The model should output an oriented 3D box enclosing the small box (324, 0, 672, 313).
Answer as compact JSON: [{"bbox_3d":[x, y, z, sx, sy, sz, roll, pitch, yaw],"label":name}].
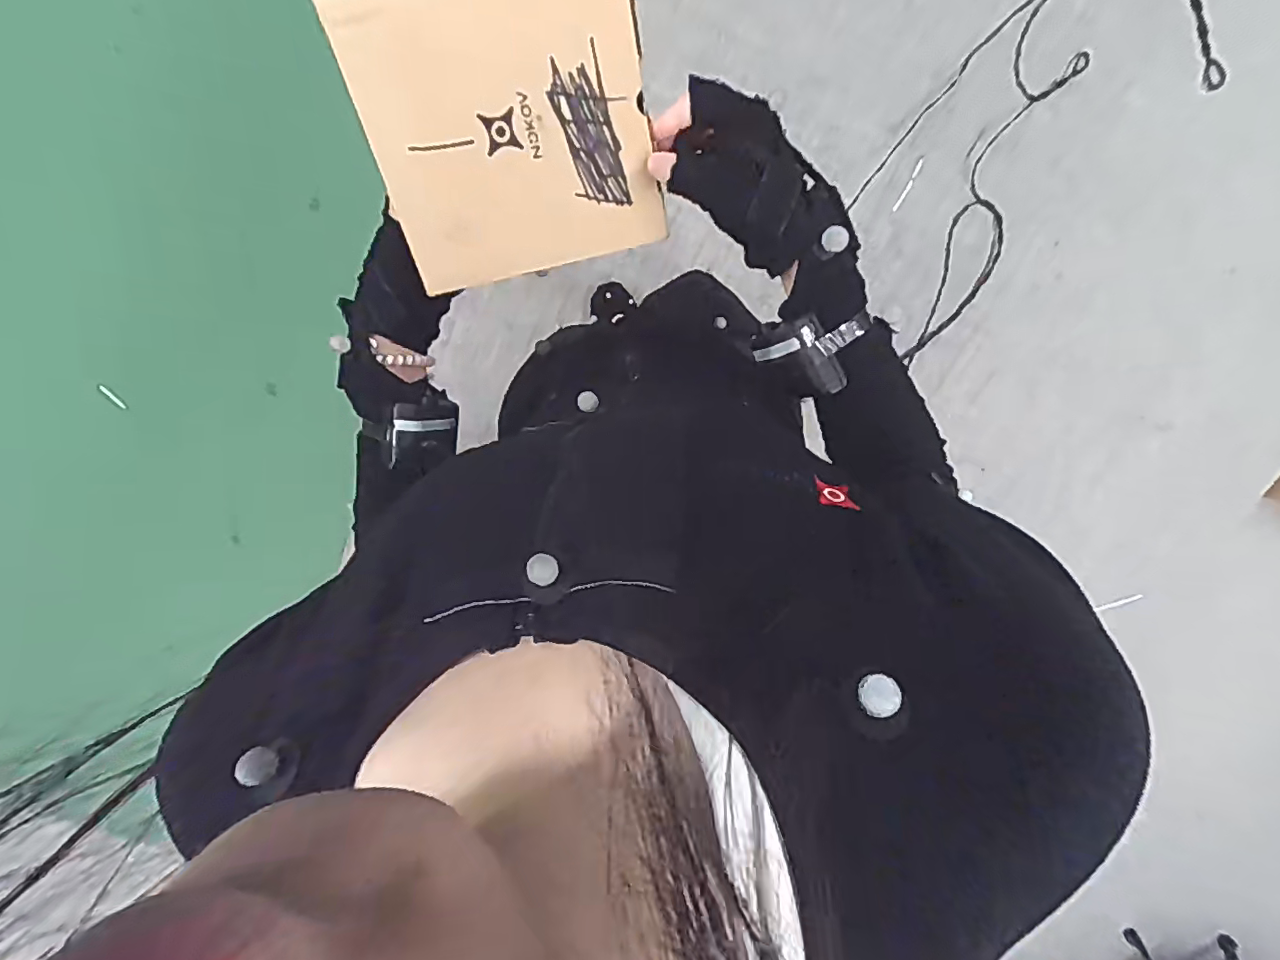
[{"bbox_3d":[-0.088,-0.243,0.402,0.179,0.176,0.168,-14,121,-3],"label":"small box"}]

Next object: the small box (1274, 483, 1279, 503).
[{"bbox_3d":[1.860,0.032,1.421,0.168,0.176,0.179,21,108,-6],"label":"small box"}]
